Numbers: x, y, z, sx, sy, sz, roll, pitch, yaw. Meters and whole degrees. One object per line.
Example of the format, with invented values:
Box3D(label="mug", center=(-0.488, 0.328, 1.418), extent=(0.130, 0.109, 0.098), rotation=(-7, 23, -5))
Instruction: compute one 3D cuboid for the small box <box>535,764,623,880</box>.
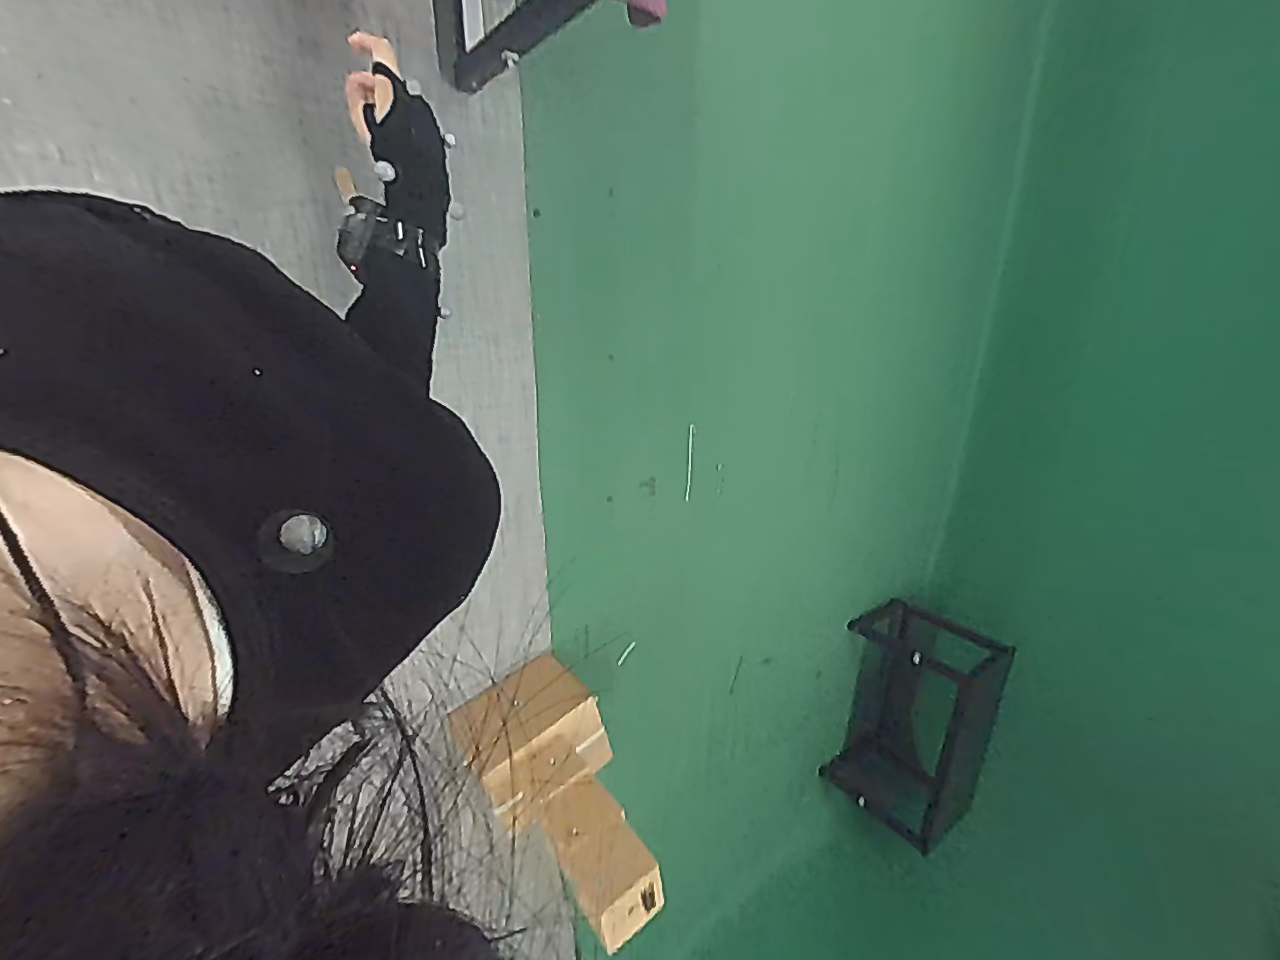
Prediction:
Box3D(label="small box", center=(-0.170, 0.940, 1.502), extent=(0.179, 0.176, 0.168), rotation=(-21, 118, -32))

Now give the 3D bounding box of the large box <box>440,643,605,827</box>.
Box3D(label="large box", center=(-0.393, 0.839, 1.831), extent=(0.408, 0.320, 0.320), rotation=(-29, 123, -30))

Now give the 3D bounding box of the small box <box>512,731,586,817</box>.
Box3D(label="small box", center=(-0.267, 0.889, 1.622), extent=(0.168, 0.176, 0.179), rotation=(-22, 118, -31))
